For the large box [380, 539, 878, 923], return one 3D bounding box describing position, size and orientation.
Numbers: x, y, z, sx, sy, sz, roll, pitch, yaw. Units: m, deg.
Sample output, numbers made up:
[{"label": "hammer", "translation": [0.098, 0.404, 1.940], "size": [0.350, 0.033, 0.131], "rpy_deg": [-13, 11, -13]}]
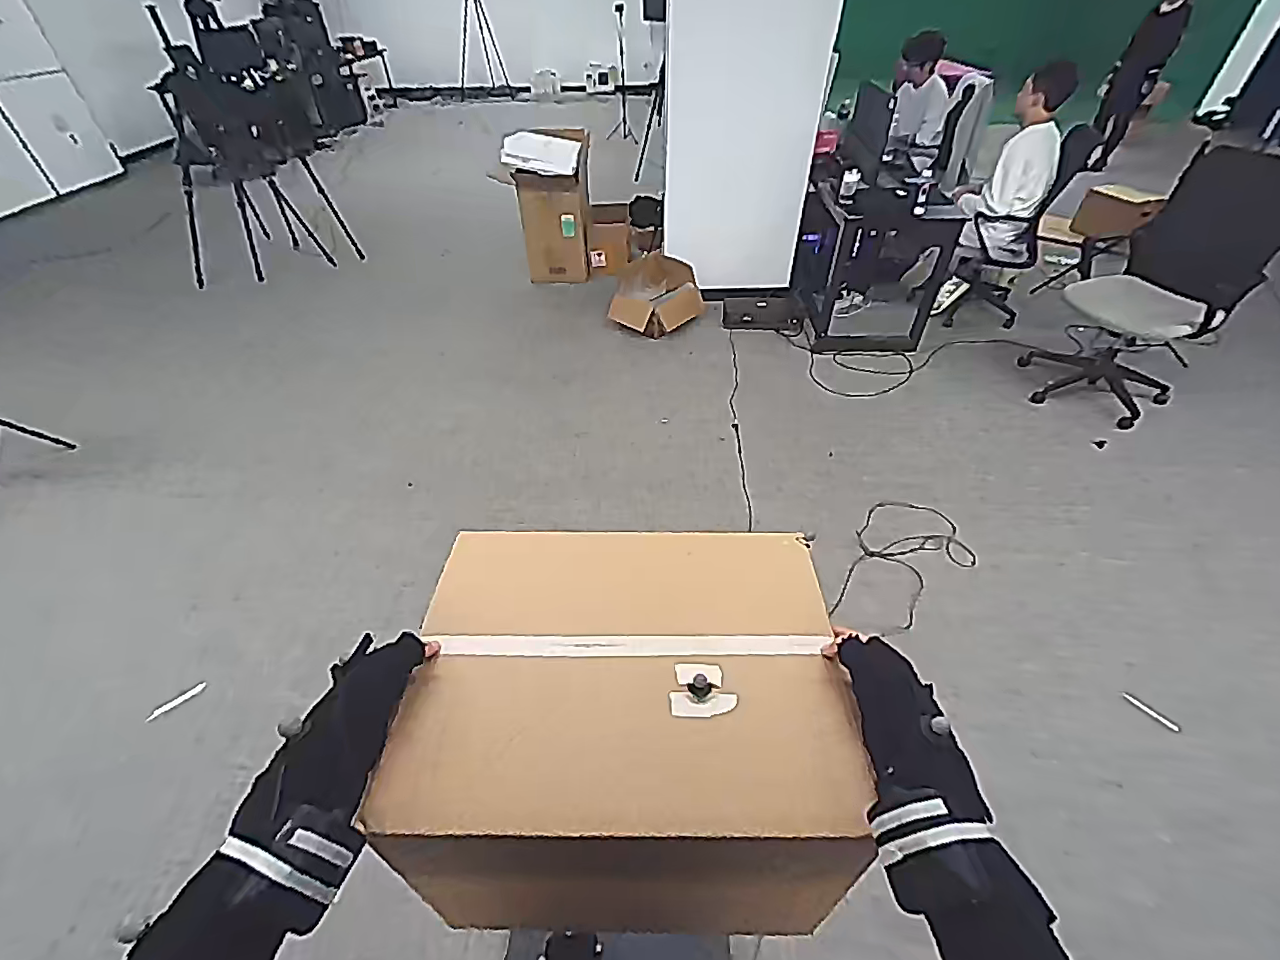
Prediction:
[{"label": "large box", "translation": [-0.010, 0.283, 0.631], "size": [0.408, 0.320, 0.320], "rpy_deg": [1, 40, 1]}]
